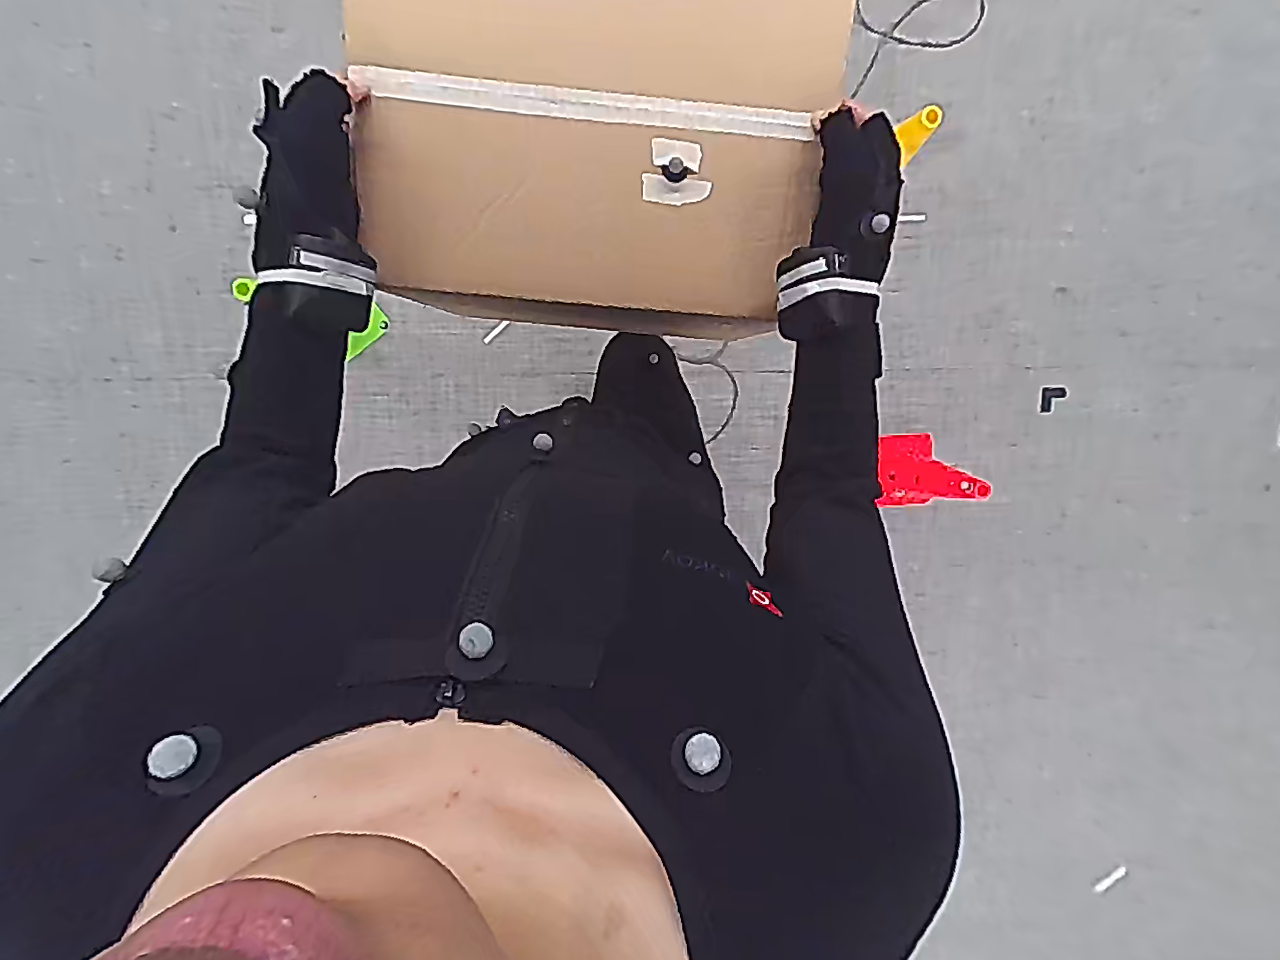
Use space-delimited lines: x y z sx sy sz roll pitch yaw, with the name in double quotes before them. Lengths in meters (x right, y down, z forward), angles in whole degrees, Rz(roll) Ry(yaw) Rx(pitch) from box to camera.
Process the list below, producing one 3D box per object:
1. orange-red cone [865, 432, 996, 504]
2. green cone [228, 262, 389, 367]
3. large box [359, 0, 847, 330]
"orange-red cone" 0.727 -0.011 1.321 0.198 0.360 0.199 -3 97 -3
"green cone" -0.758 -0.390 1.193 0.202 0.368 0.200 -38 97 4
"large box" -0.040 -0.348 0.598 0.408 0.320 0.320 4 102 -4
